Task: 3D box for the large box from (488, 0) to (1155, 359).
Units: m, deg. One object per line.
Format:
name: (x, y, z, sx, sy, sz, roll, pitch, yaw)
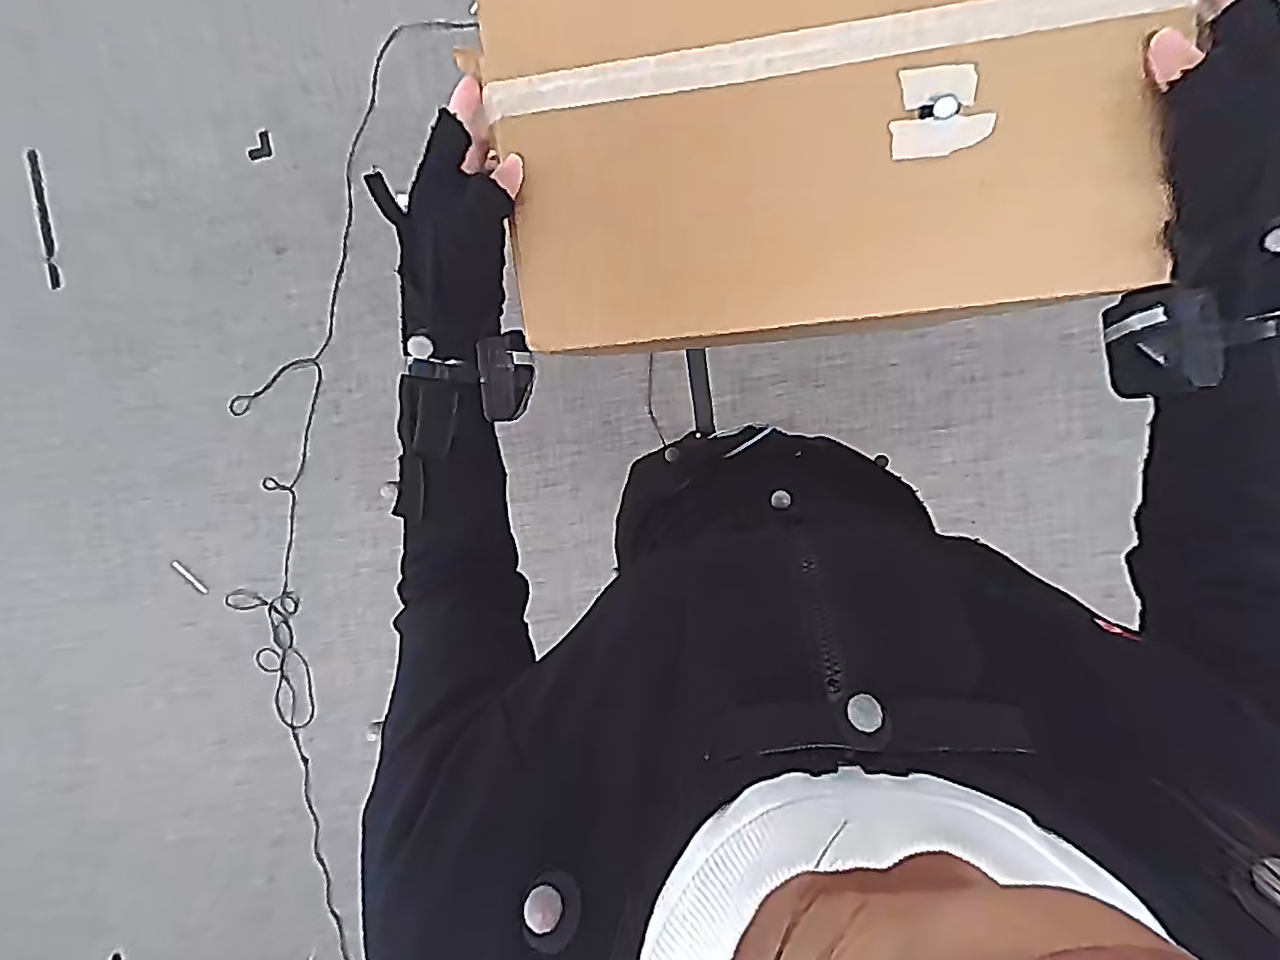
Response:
large box: (0.116, -0.290, 0.483, 0.408, 0.320, 0.320, -5, 102, 5)
